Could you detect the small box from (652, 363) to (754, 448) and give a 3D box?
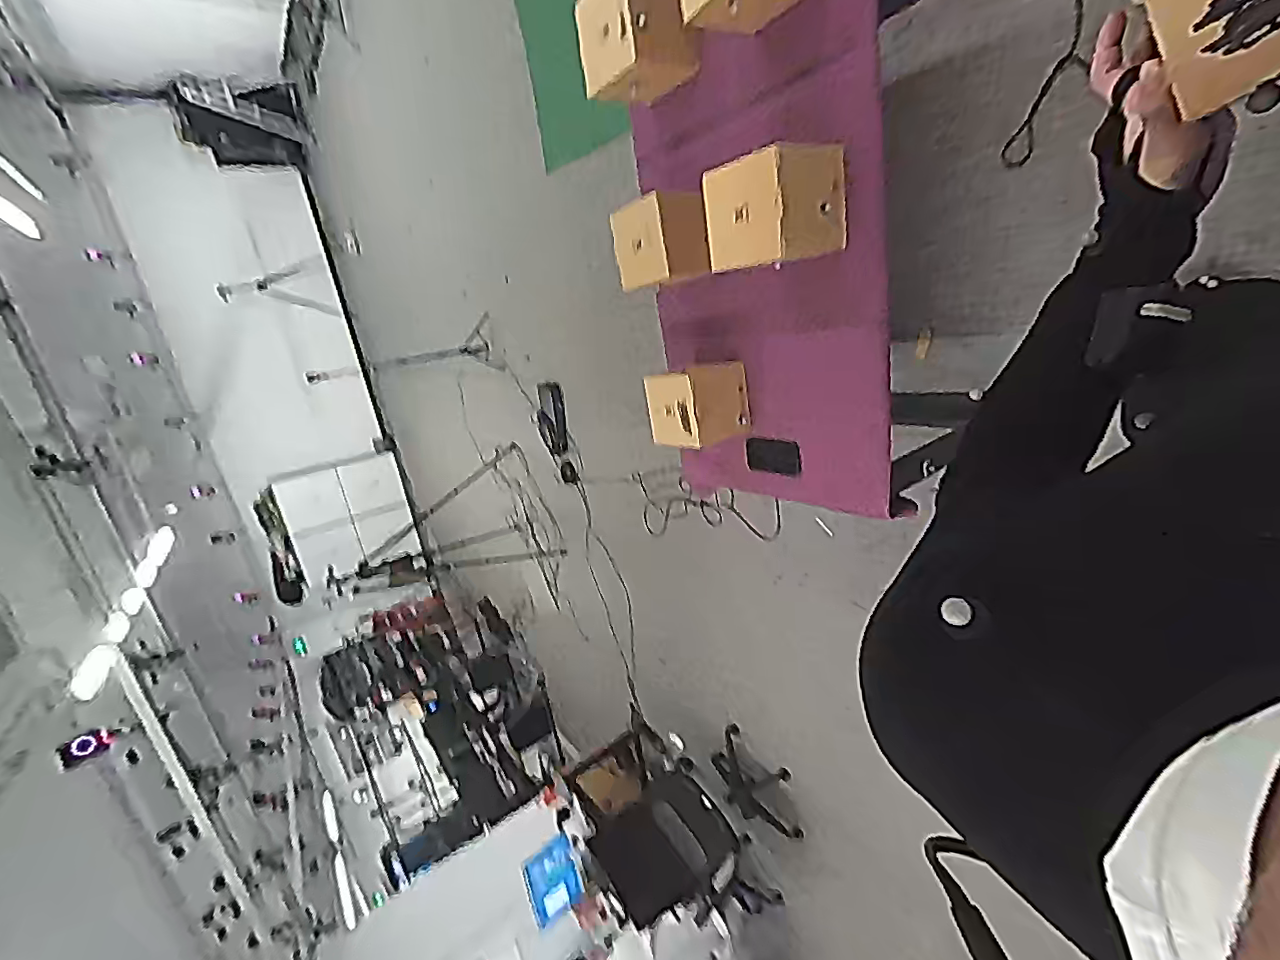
[{"bbox_3d":[0.158,-0.182,1.298,0.179,0.176,0.168,12,117,55],"label":"small box"}]

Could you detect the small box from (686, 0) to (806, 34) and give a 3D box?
[{"bbox_3d":[0.182,-0.854,0.862,0.179,0.176,0.168,11,118,54],"label":"small box"}]

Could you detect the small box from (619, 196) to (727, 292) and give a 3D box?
[{"bbox_3d":[0.079,-0.531,1.223,0.179,0.176,0.168,11,117,54],"label":"small box"}]

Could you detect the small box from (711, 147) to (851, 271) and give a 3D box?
[{"bbox_3d":[0.253,-0.481,0.976,0.179,0.176,0.168,16,120,54],"label":"small box"}]

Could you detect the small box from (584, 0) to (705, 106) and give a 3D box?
[{"bbox_3d":[0.010,-0.898,1.115,0.179,0.176,0.168,15,121,54],"label":"small box"}]
